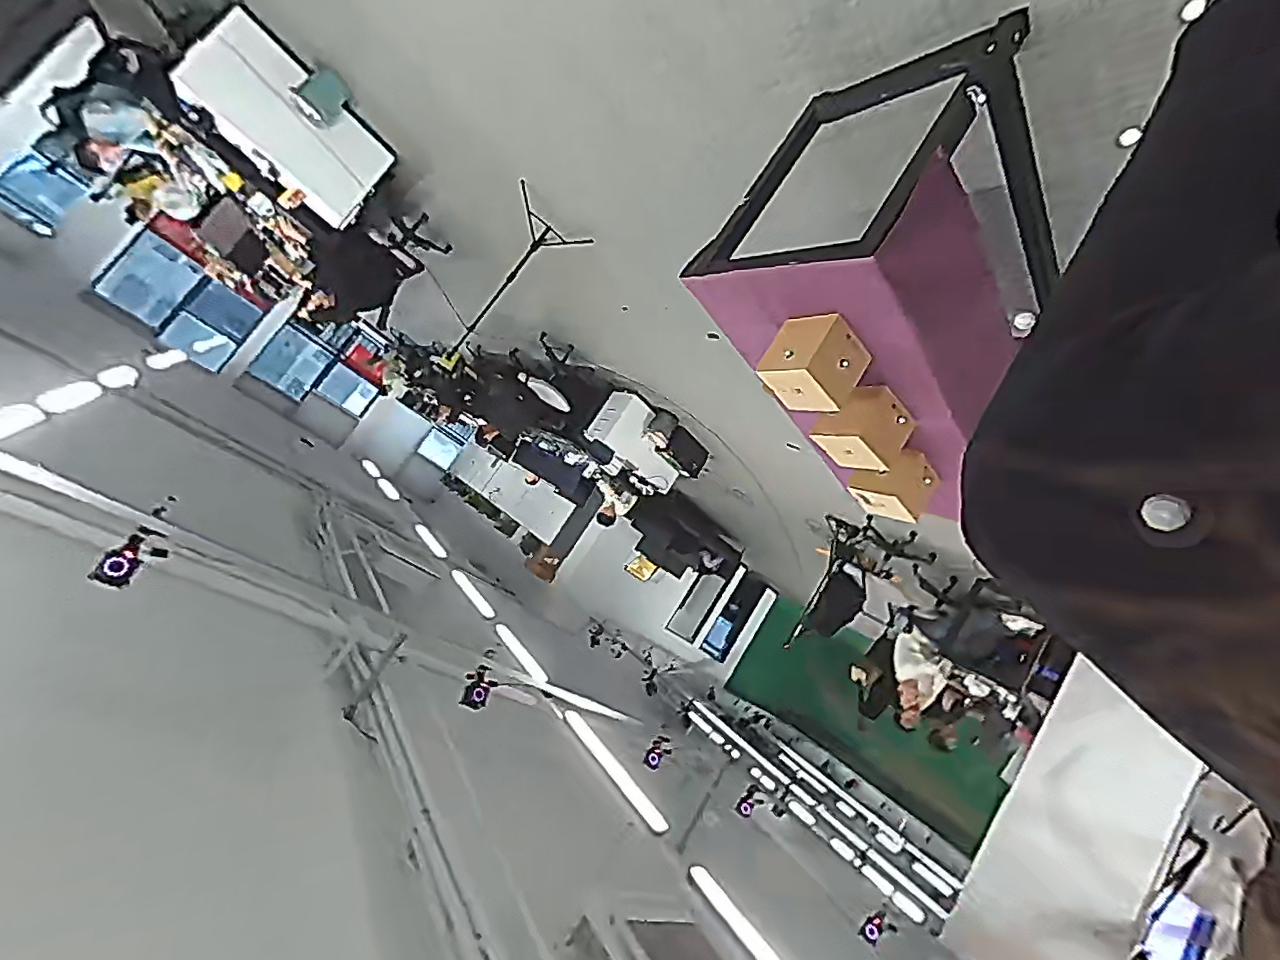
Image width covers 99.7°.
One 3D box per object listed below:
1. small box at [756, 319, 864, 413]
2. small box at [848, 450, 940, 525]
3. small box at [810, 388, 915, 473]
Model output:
[{"bbox_3d":[0.433,-0.286,1.356,0.168,0.176,0.179,38,170,-30],"label":"small box"},{"bbox_3d":[0.798,0.012,1.696,0.168,0.176,0.179,38,169,-32],"label":"small box"},{"bbox_3d":[0.619,-0.142,1.502,0.168,0.176,0.179,36,171,-26],"label":"small box"}]
